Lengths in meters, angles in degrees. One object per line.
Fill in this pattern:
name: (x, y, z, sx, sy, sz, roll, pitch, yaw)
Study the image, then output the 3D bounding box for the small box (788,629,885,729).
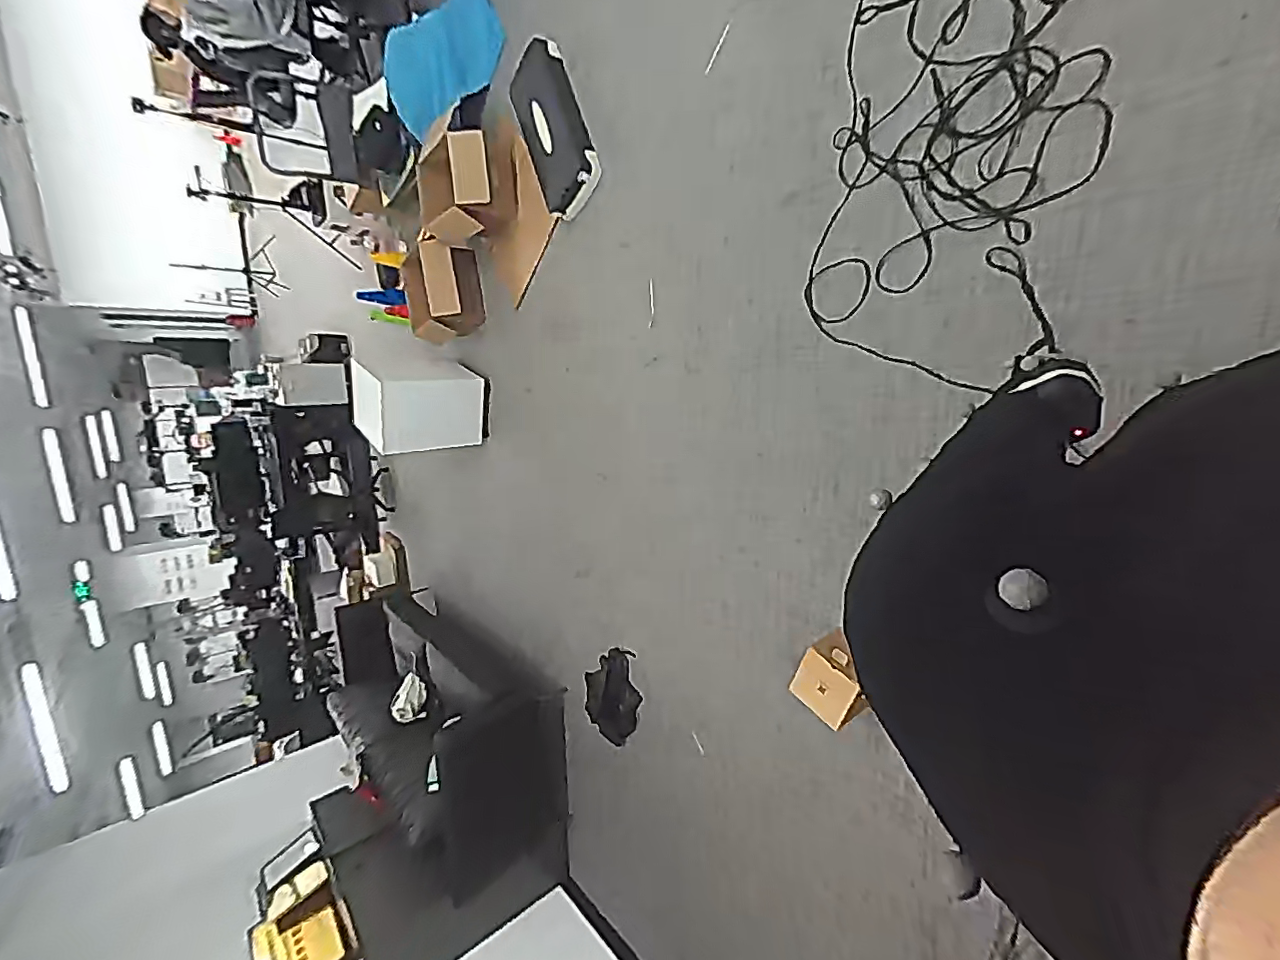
small box: (0.556, 0.554, 1.524, 0.168, 0.176, 0.179, 37, 125, 40)
